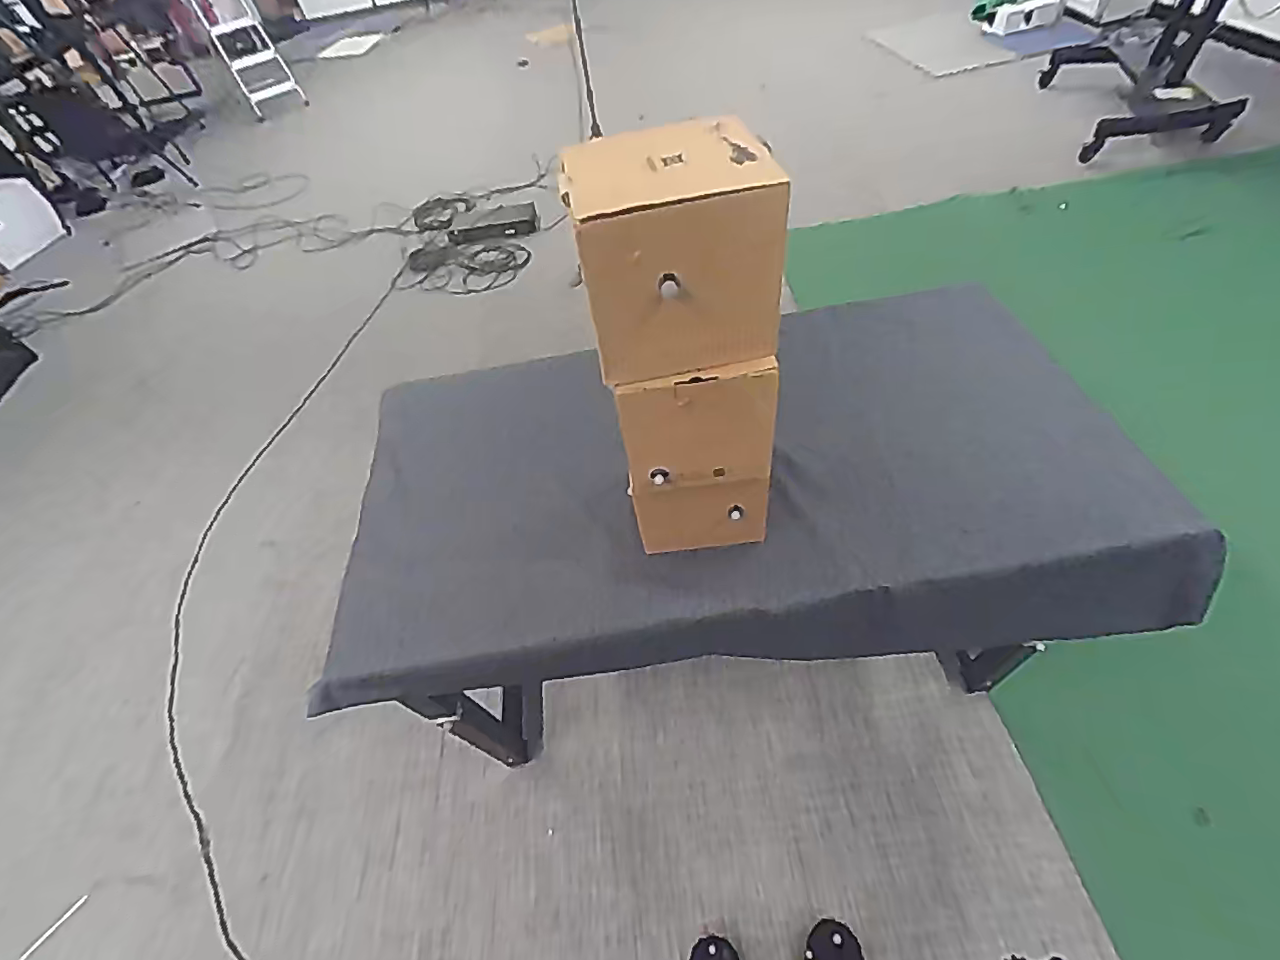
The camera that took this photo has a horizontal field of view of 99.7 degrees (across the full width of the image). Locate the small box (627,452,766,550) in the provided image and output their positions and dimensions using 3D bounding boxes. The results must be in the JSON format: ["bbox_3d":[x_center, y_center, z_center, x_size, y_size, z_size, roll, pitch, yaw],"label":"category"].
[{"bbox_3d":[0.078,-0.016,0.788,0.179,0.176,0.168,-8,50,5],"label":"small box"}]

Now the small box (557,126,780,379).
[{"bbox_3d":[0.026,-0.223,0.543,0.179,0.176,0.168,-13,49,-3],"label":"small box"}]

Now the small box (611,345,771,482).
[{"bbox_3d":[0.056,-0.113,0.657,0.168,0.176,0.179,-10,52,2],"label":"small box"}]
